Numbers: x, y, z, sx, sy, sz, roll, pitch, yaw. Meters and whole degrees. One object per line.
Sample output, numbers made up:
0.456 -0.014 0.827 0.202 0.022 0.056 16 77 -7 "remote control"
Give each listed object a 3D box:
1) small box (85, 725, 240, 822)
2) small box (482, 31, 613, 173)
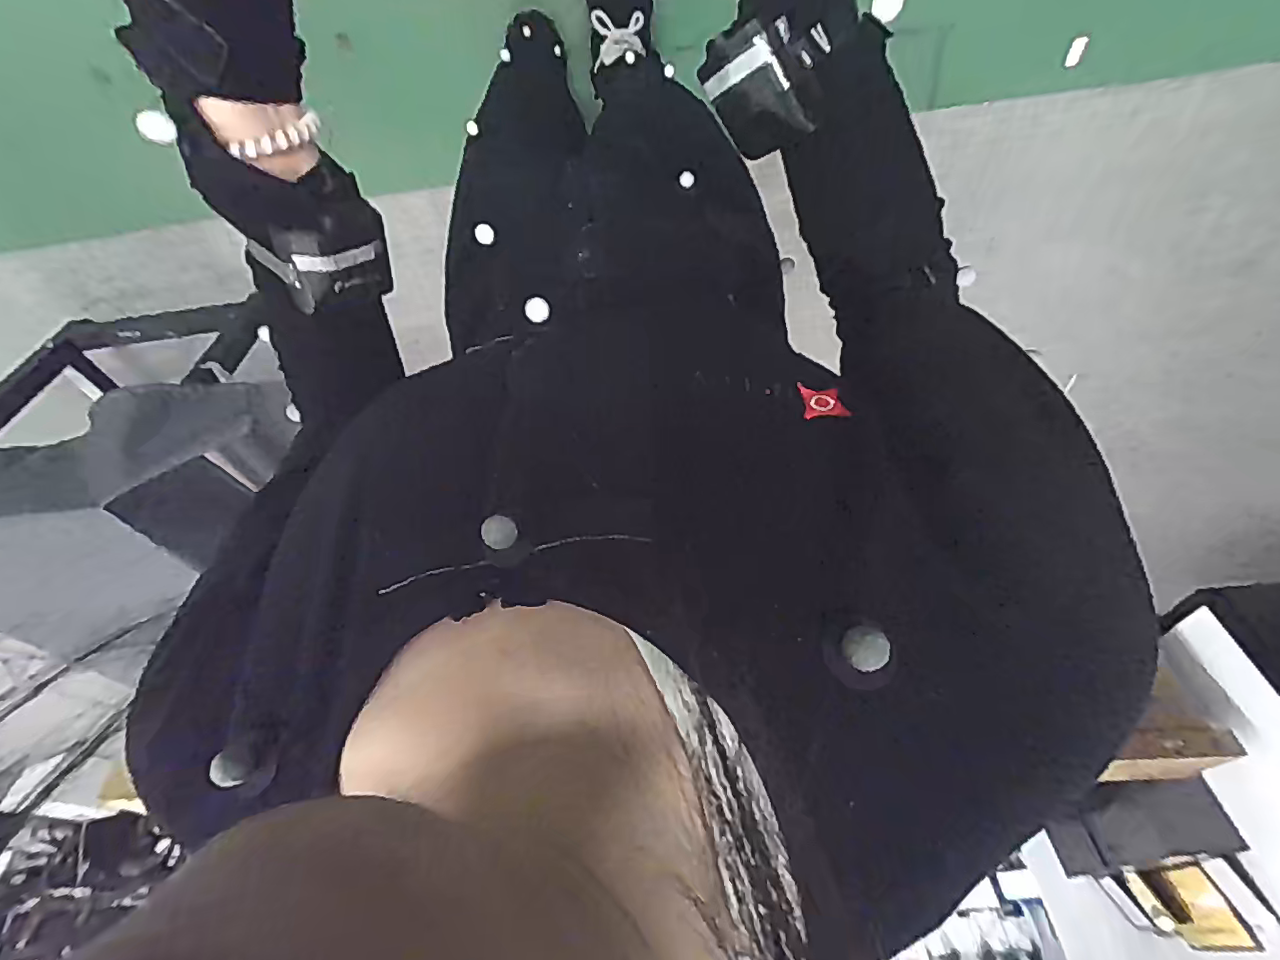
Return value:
-1.094 0.678 1.257 0.168 0.176 0.179 -7 139 5 "small box"
-0.186 -0.736 1.053 0.179 0.176 0.168 35 134 -4 "small box"
